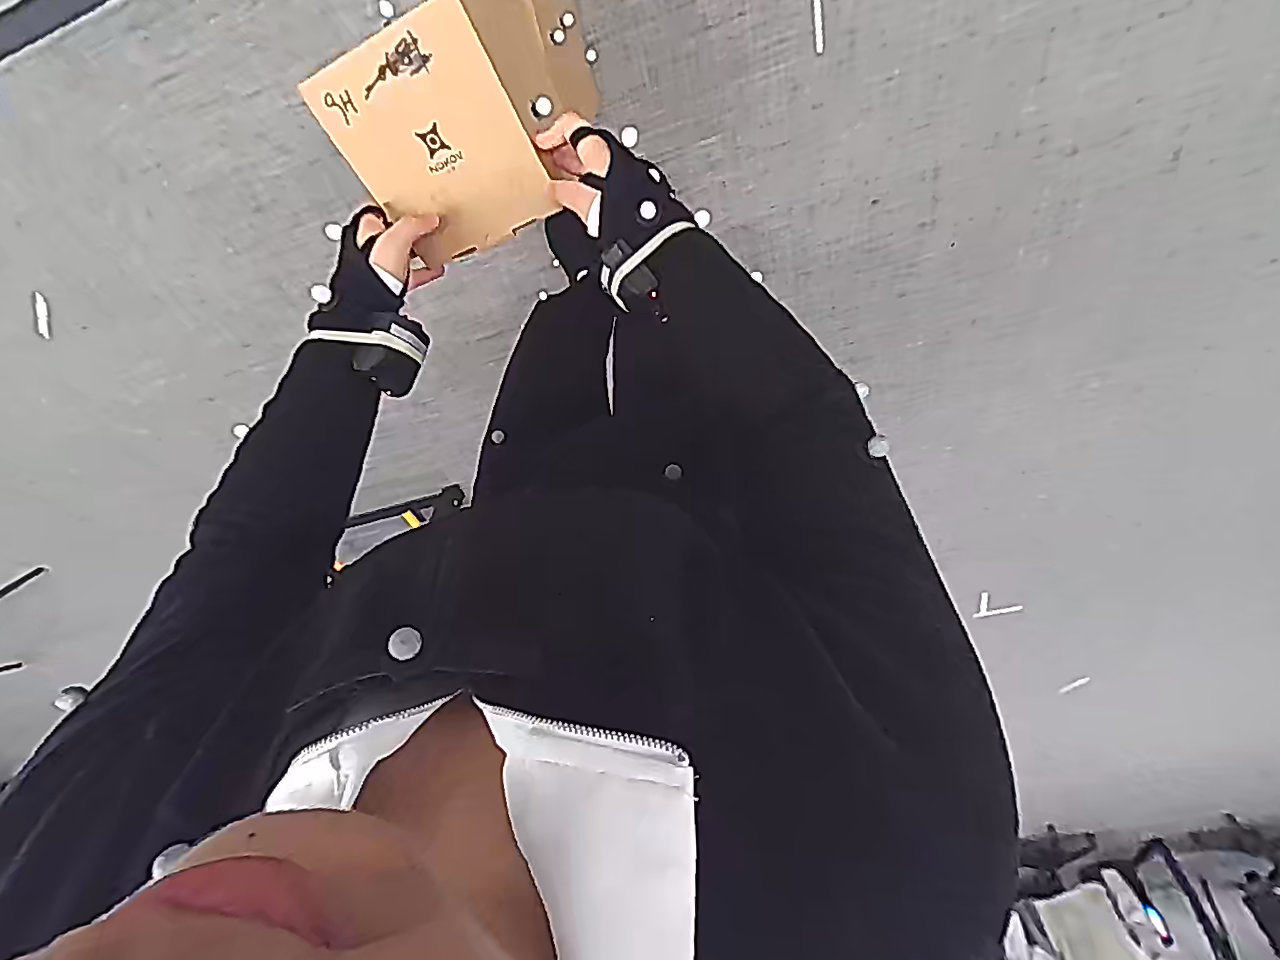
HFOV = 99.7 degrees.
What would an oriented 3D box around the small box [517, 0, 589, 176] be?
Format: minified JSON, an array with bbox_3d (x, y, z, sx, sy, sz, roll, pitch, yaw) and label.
[{"bbox_3d":[-0.171,-0.488,0.694,0.168,0.176,0.179,-9,132,10],"label":"small box"}]

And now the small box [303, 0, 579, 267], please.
[{"bbox_3d":[-0.174,-0.355,0.539,0.168,0.176,0.179,-15,136,18],"label":"small box"}]

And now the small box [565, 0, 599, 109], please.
[{"bbox_3d":[-0.178,-0.710,0.935,0.179,0.176,0.168,-10,131,9],"label":"small box"}]

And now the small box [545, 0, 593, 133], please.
[{"bbox_3d":[-0.174,-0.606,0.807,0.168,0.176,0.179,-10,131,10],"label":"small box"}]
